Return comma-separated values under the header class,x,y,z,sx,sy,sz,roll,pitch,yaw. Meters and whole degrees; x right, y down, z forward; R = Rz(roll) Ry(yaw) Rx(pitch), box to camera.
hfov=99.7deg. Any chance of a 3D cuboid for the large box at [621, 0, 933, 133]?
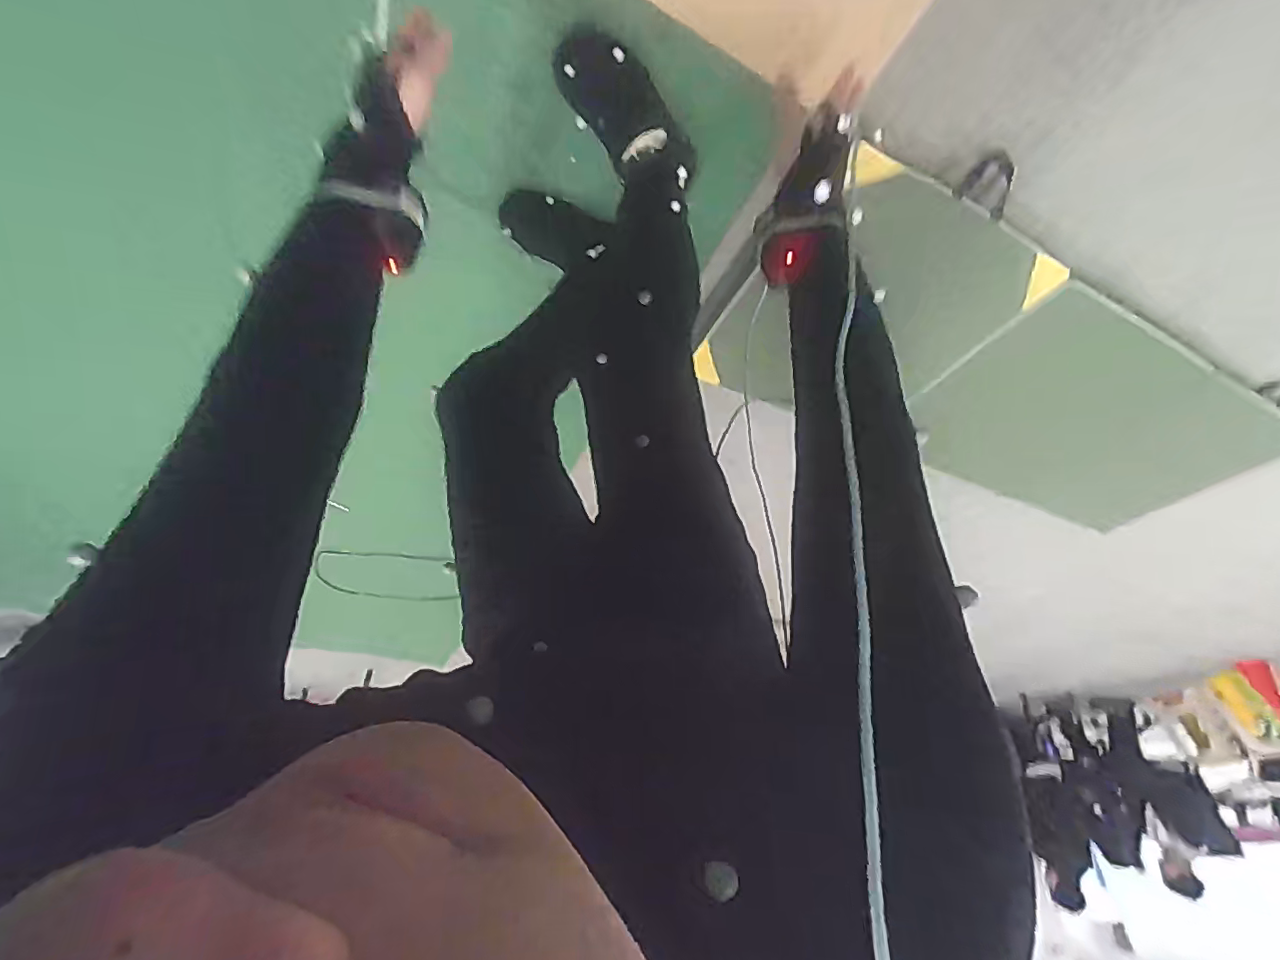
class,x,y,z,sx,sy,sz,roll,pitch,yaw
large box,0.136,-0.686,0.591,0.408,0.320,0.320,17,140,-22
